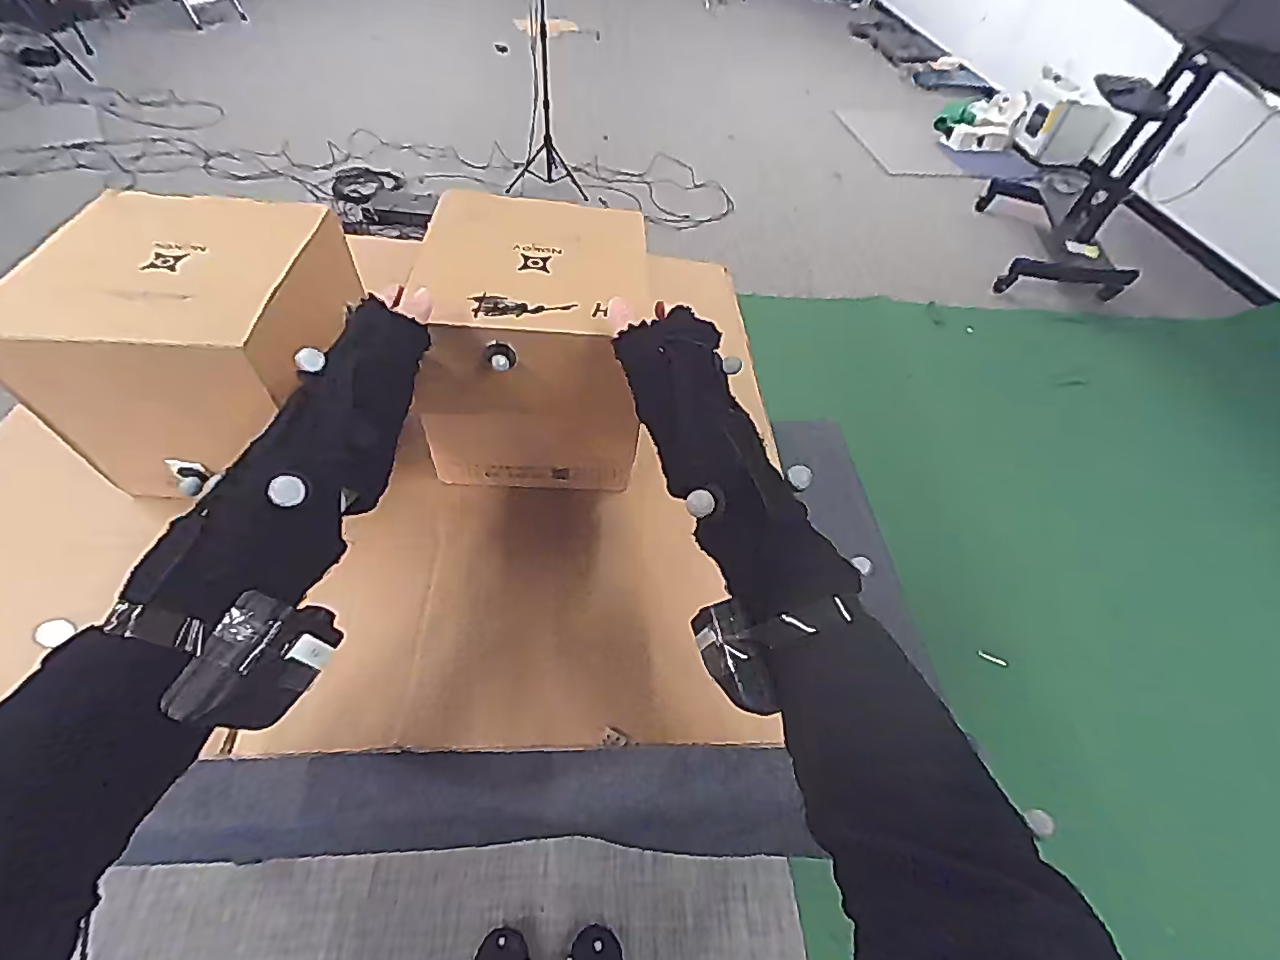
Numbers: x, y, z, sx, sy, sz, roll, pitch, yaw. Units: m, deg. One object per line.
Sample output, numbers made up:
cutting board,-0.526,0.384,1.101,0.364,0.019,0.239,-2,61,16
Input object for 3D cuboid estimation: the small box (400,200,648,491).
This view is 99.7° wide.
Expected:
small box,-0.085,-0.112,0.469,0.168,0.176,0.179,3,51,-5

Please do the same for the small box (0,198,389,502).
small box,-0.325,-0.101,0.443,0.168,0.176,0.179,0,54,-5
